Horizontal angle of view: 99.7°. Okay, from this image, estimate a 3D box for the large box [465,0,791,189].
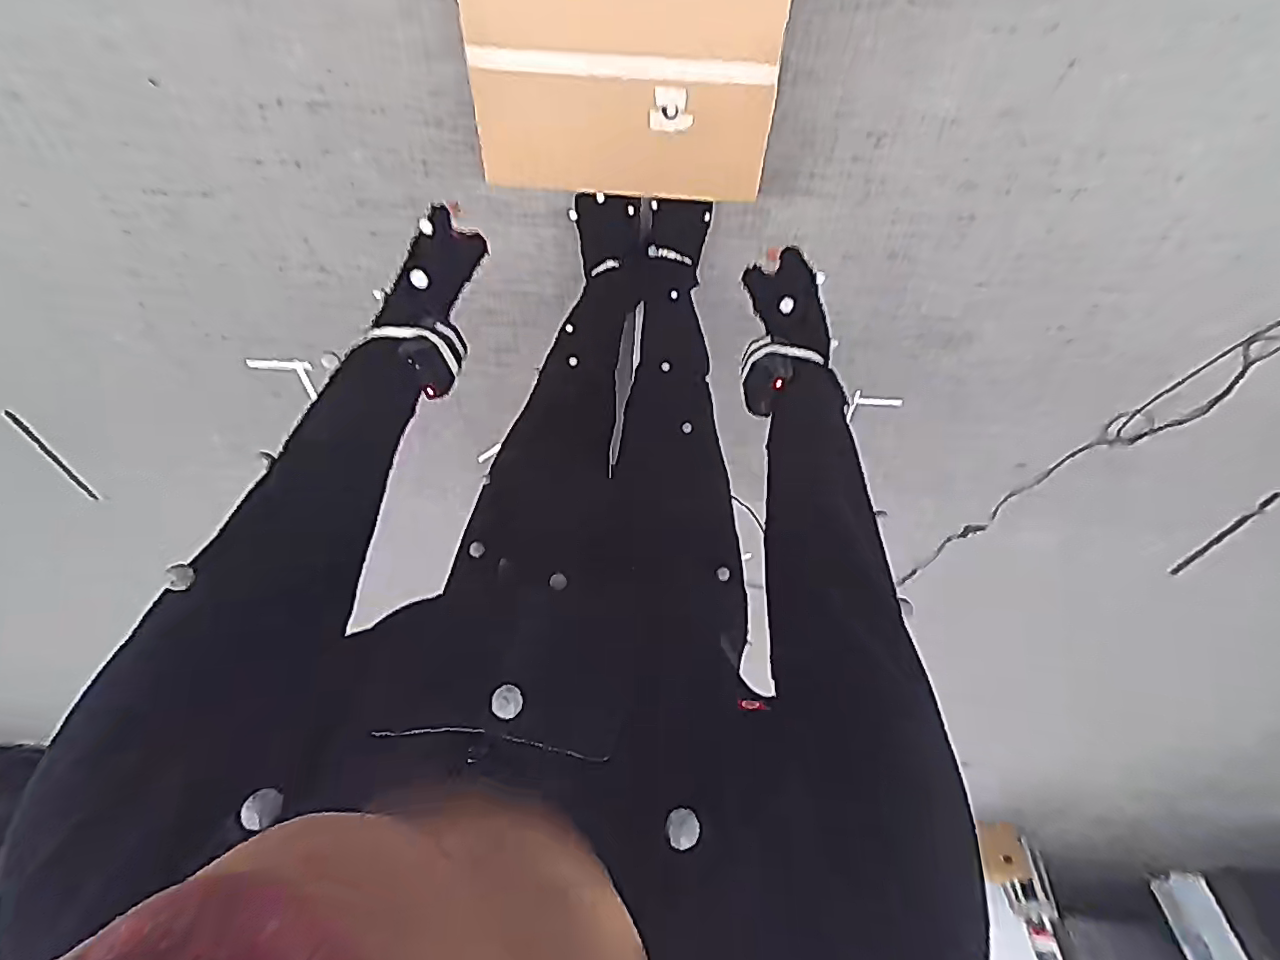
[{"bbox_3d":[-0.013,-0.650,0.793,0.408,0.320,0.320,3,136,0],"label":"large box"}]
